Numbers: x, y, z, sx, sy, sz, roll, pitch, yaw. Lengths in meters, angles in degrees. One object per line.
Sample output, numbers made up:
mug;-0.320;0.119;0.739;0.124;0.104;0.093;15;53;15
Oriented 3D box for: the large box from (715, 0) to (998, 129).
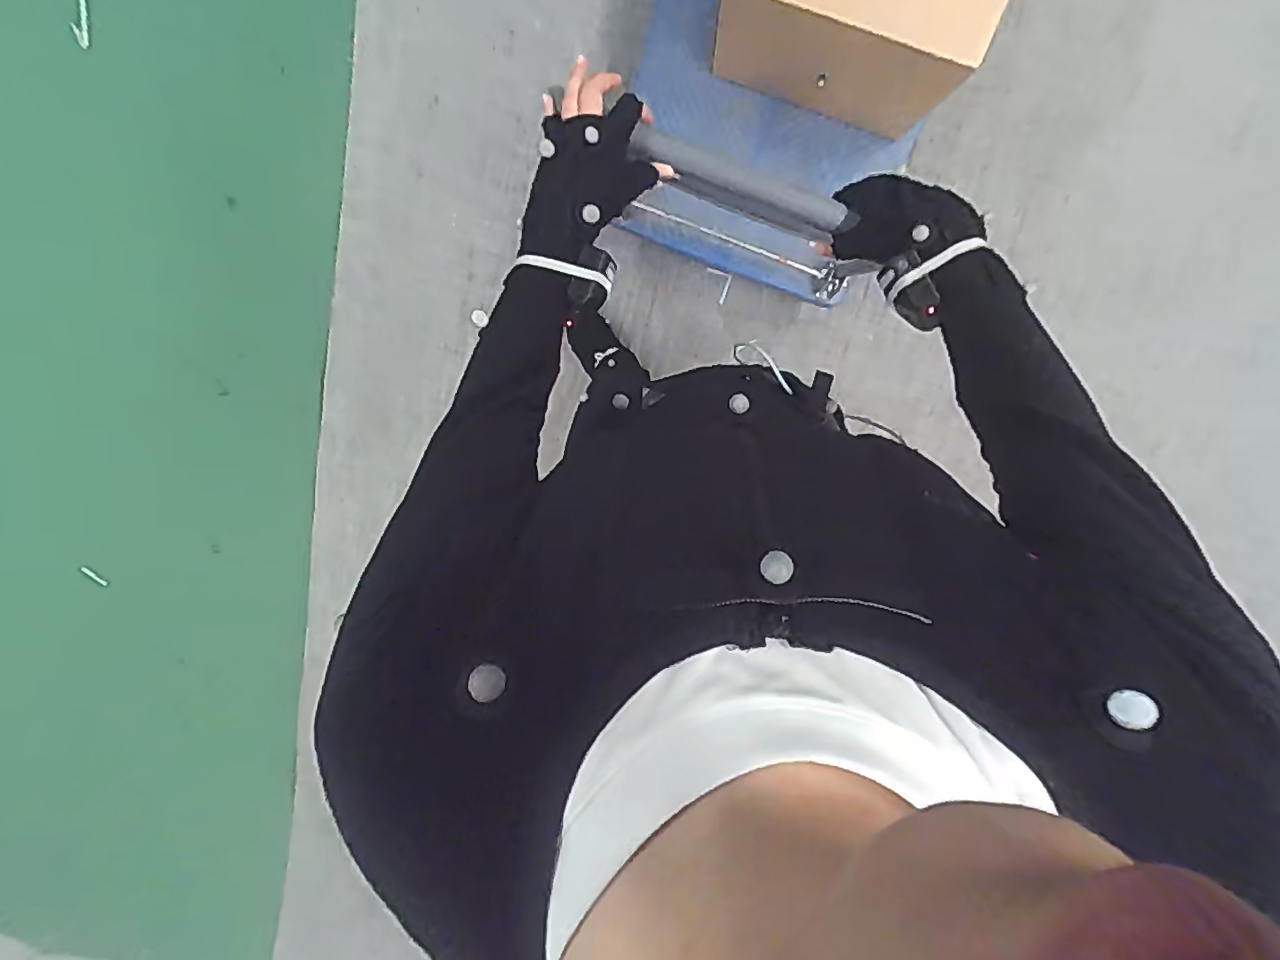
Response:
large box;0.370;-0.861;0.914;0.408;0.320;0.320;18;106;0
